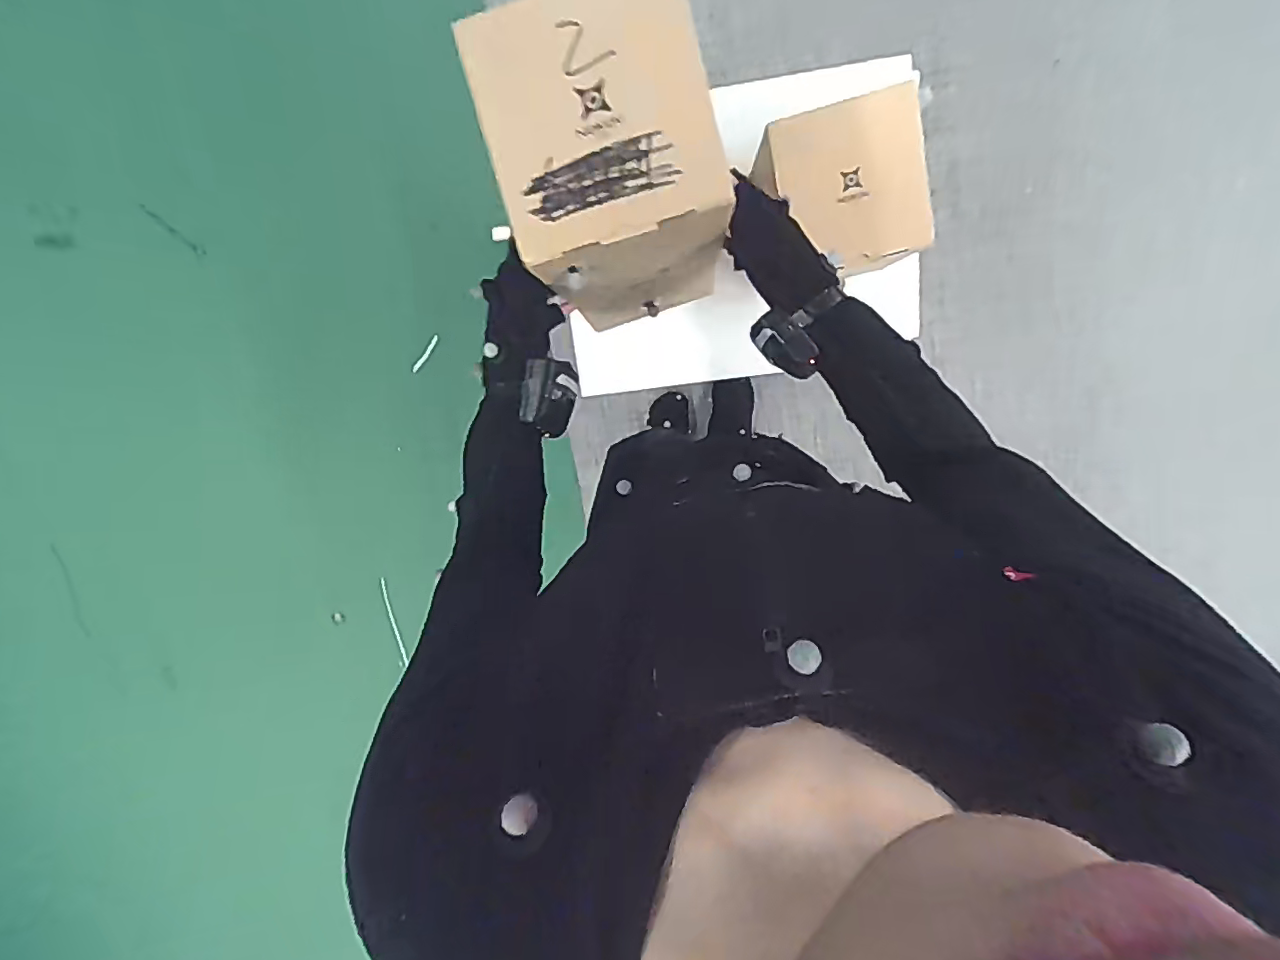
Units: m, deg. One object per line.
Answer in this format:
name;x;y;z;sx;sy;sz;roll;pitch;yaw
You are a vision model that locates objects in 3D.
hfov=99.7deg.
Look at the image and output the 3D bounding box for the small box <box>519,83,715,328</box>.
small box;-0.018;-0.300;0.632;0.168;0.176;0.179;-17;92;7
